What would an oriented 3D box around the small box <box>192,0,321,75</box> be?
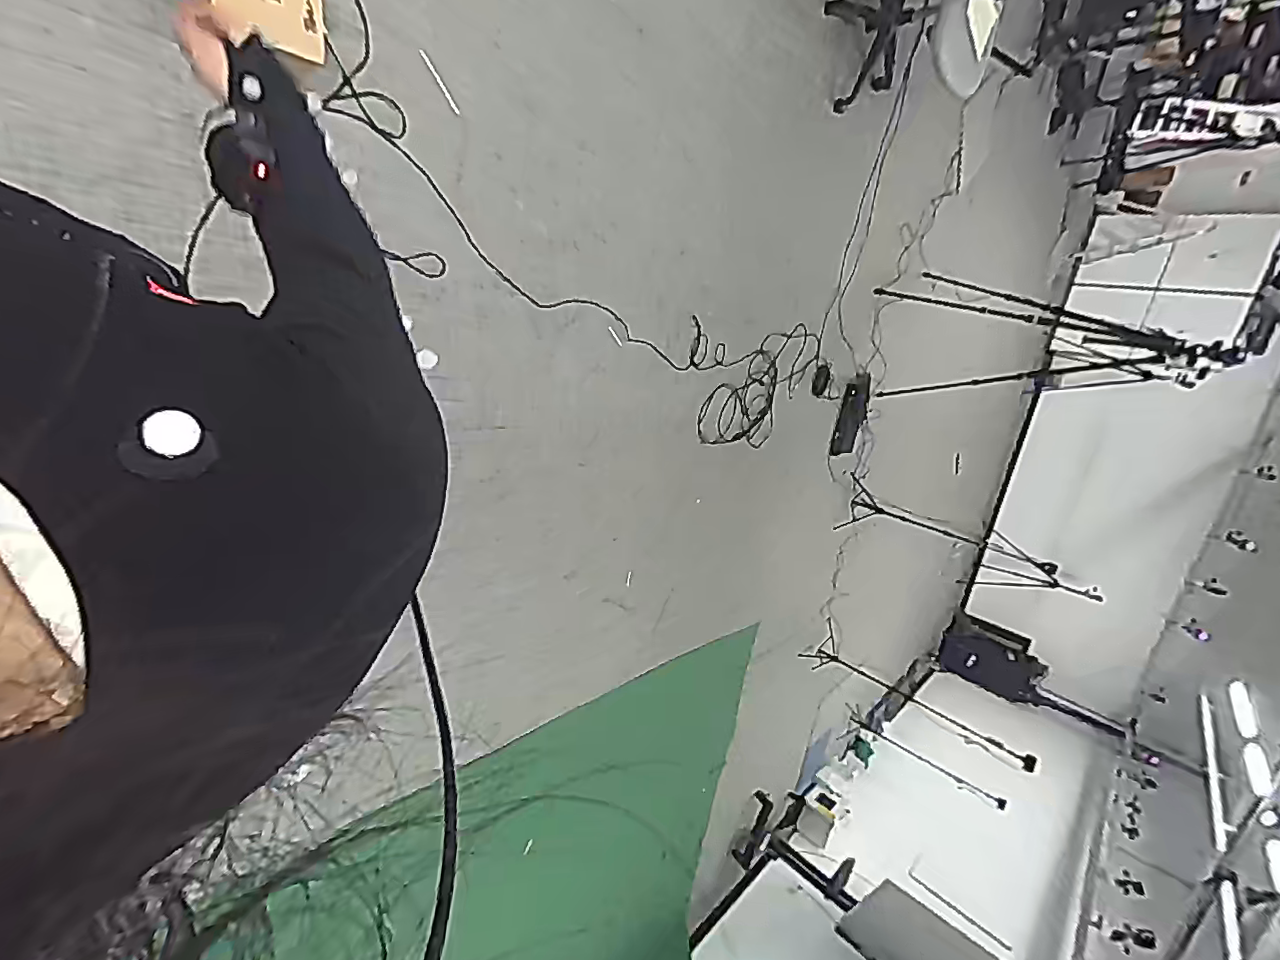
[{"bbox_3d":[-0.716,-0.887,1.003,0.179,0.176,0.168,-10,115,-44],"label":"small box"}]
